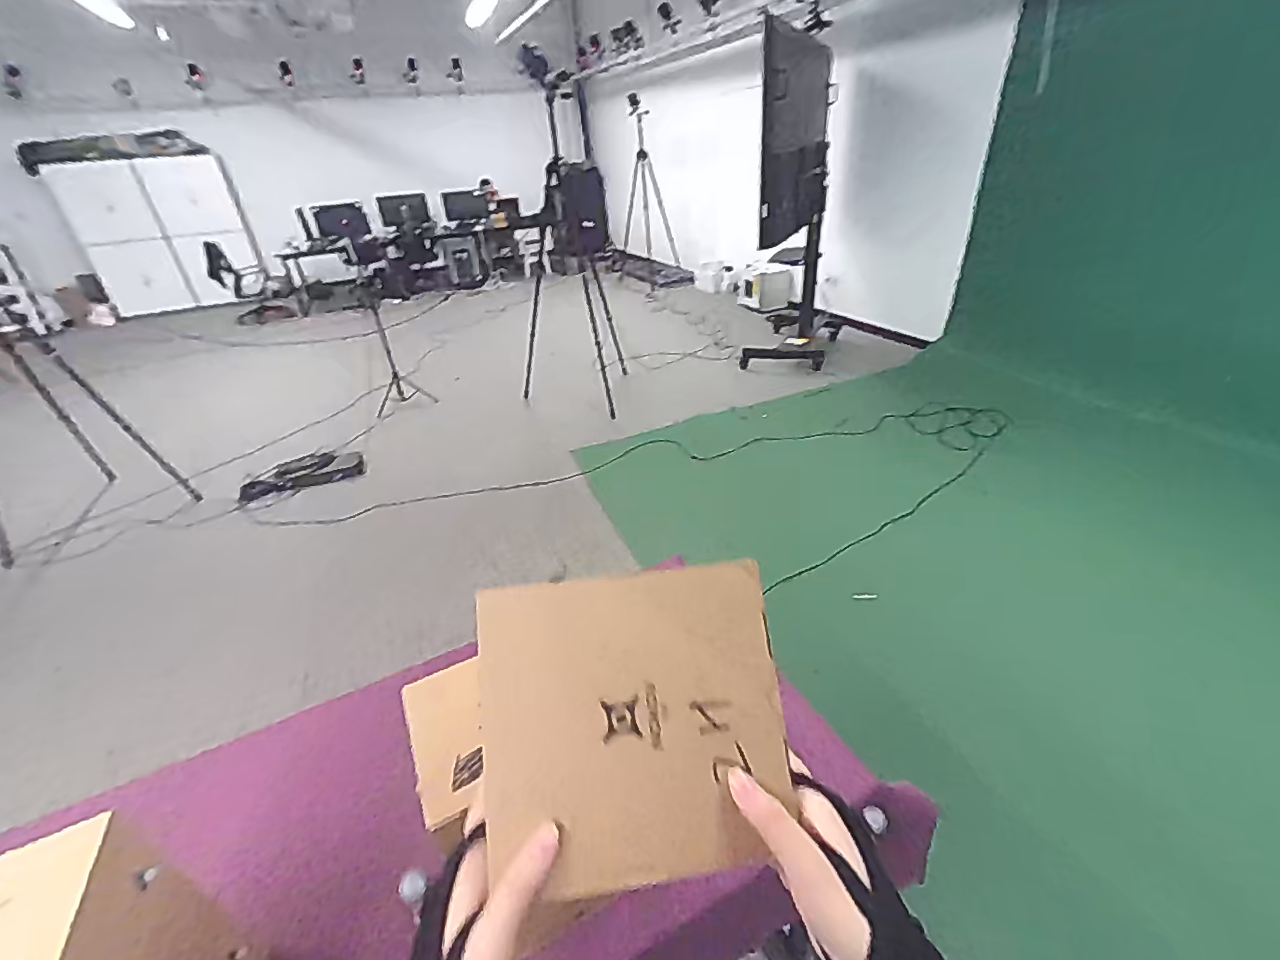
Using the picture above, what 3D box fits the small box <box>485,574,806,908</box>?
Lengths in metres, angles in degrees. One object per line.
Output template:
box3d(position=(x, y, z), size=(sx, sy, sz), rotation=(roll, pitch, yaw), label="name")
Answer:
box3d(position=(-0.005, 0.162, 0.391), size=(0.179, 0.168, 0.176), rotation=(-5, -12, -6), label="small box")

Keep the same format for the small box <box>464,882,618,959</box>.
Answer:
box3d(position=(-0.138, 0.458, 0.704), size=(0.168, 0.176, 0.179), rotation=(-20, 34, -20), label="small box")

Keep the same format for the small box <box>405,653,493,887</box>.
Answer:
box3d(position=(-0.150, 0.318, 0.618), size=(0.168, 0.176, 0.179), rotation=(-19, 34, -21), label="small box")
